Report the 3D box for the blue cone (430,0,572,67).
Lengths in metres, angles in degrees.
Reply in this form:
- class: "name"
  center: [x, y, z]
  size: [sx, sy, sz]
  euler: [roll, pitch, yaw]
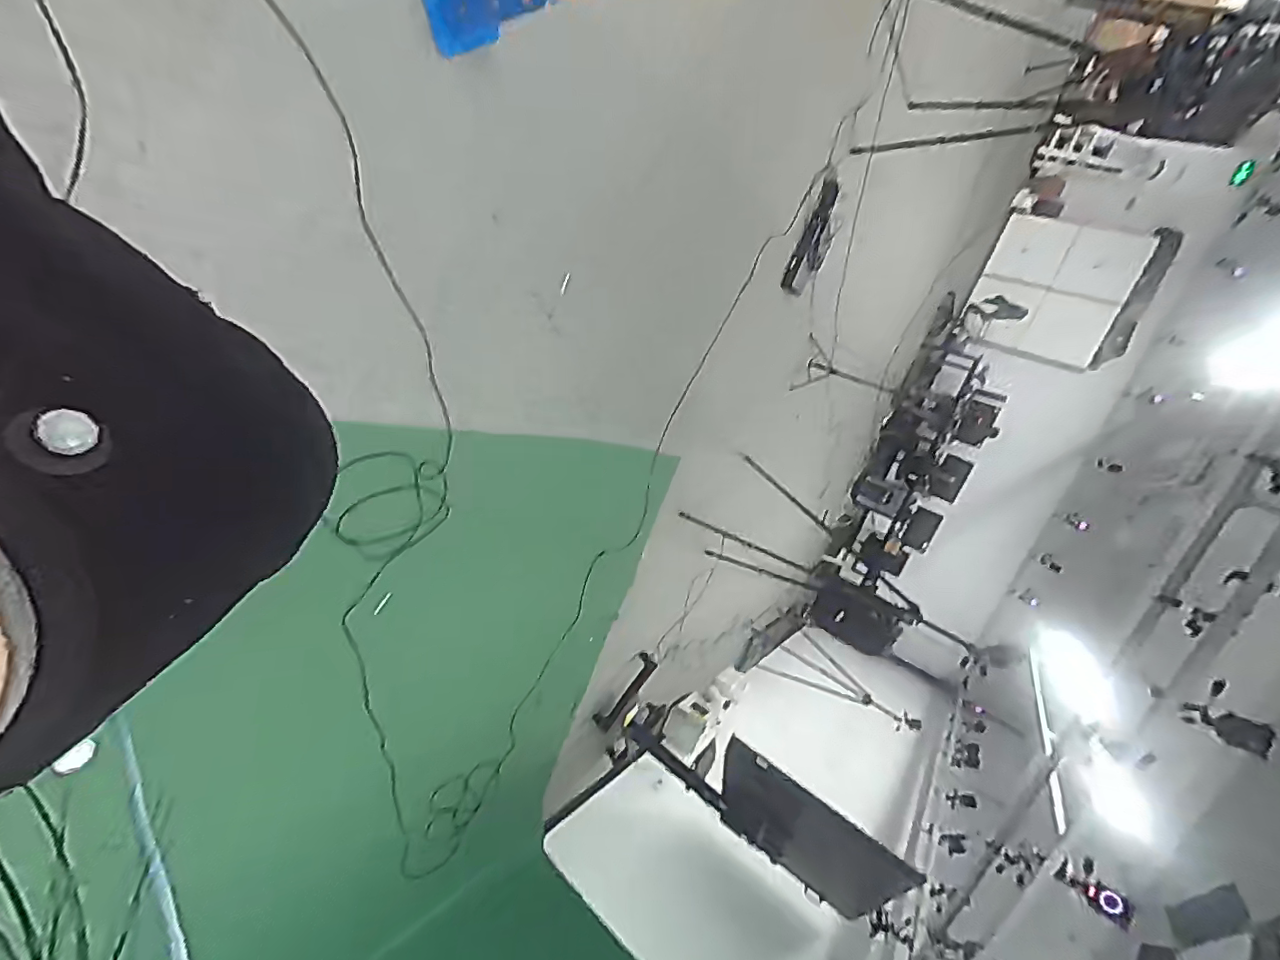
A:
- class: "blue cone"
  center: [-0.301, -1.095, 1.248]
  size: [0.193, 0.380, 0.192]
  euler: [-47, 146, -26]
